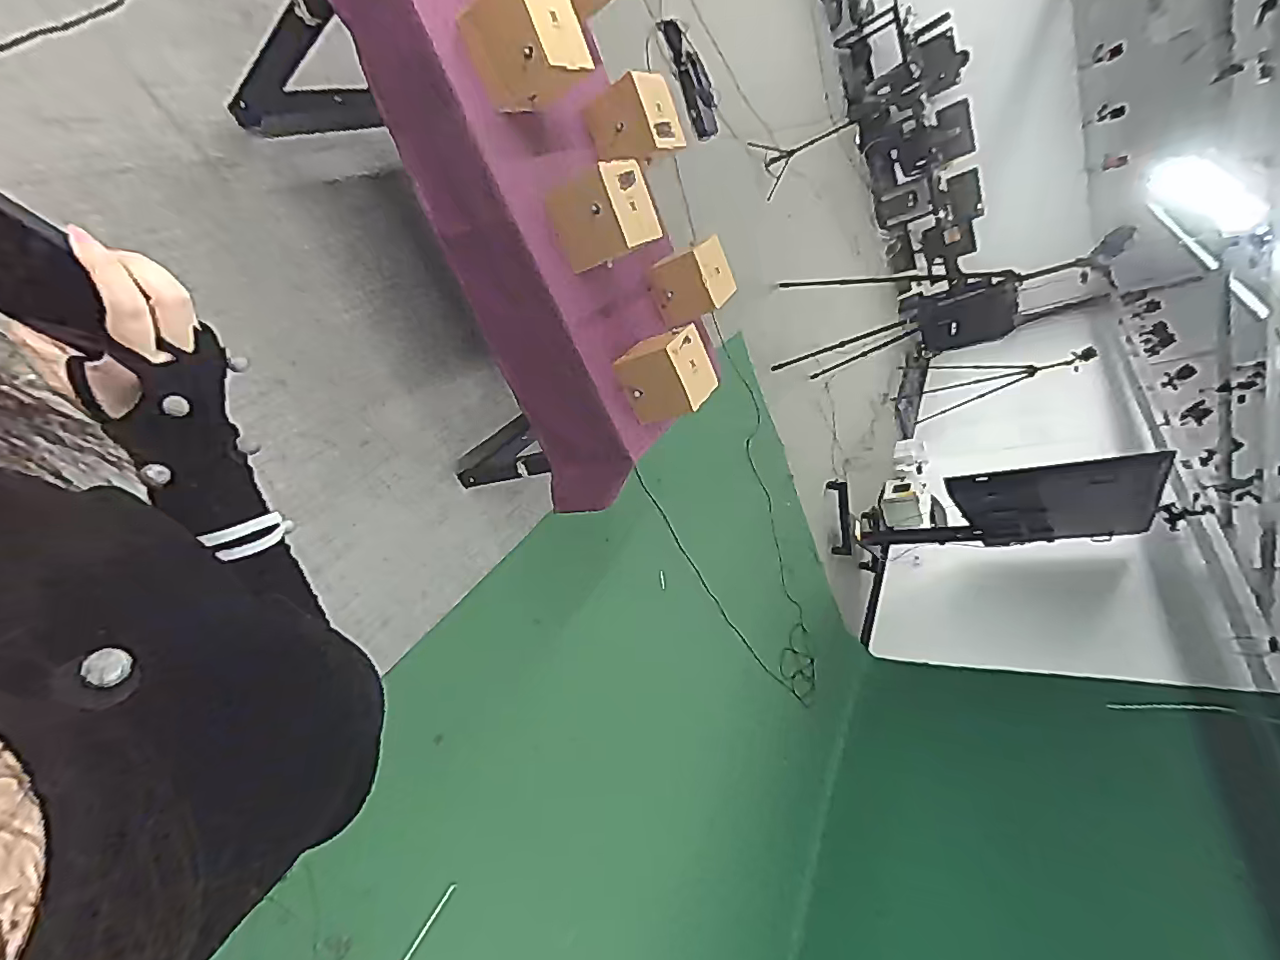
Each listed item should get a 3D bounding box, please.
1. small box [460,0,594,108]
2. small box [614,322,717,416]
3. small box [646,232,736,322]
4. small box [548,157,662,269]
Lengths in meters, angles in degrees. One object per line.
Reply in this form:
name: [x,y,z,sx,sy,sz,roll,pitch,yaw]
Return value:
small box: [-0.232,-0.901,1.107,0.168,0.176,0.179,-47,121,-46]
small box: [0.065,-0.275,1.374,0.168,0.176,0.179,-50,122,-45]
small box: [0.144,-0.573,1.531,0.179,0.176,0.168,-51,123,-43]
small box: [-0.082,-0.613,1.247,0.168,0.176,0.179,-45,119,-46]
